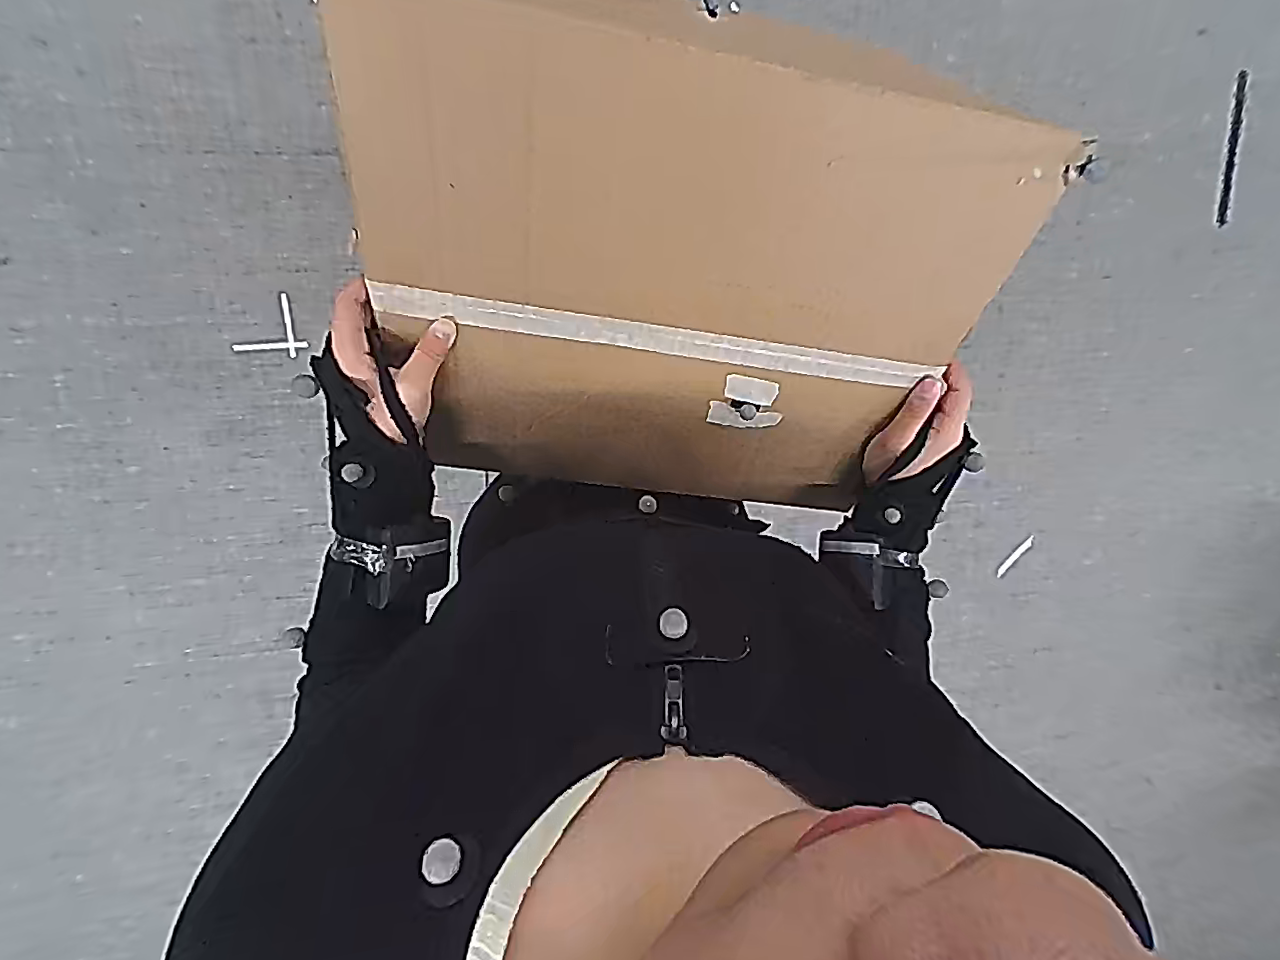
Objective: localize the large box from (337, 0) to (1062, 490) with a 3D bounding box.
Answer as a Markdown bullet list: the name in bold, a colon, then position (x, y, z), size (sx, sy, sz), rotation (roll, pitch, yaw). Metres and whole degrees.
- **large box**: position (0.019, -0.218, 0.492), size (0.408, 0.320, 0.320), rotation (5, 136, -8)
